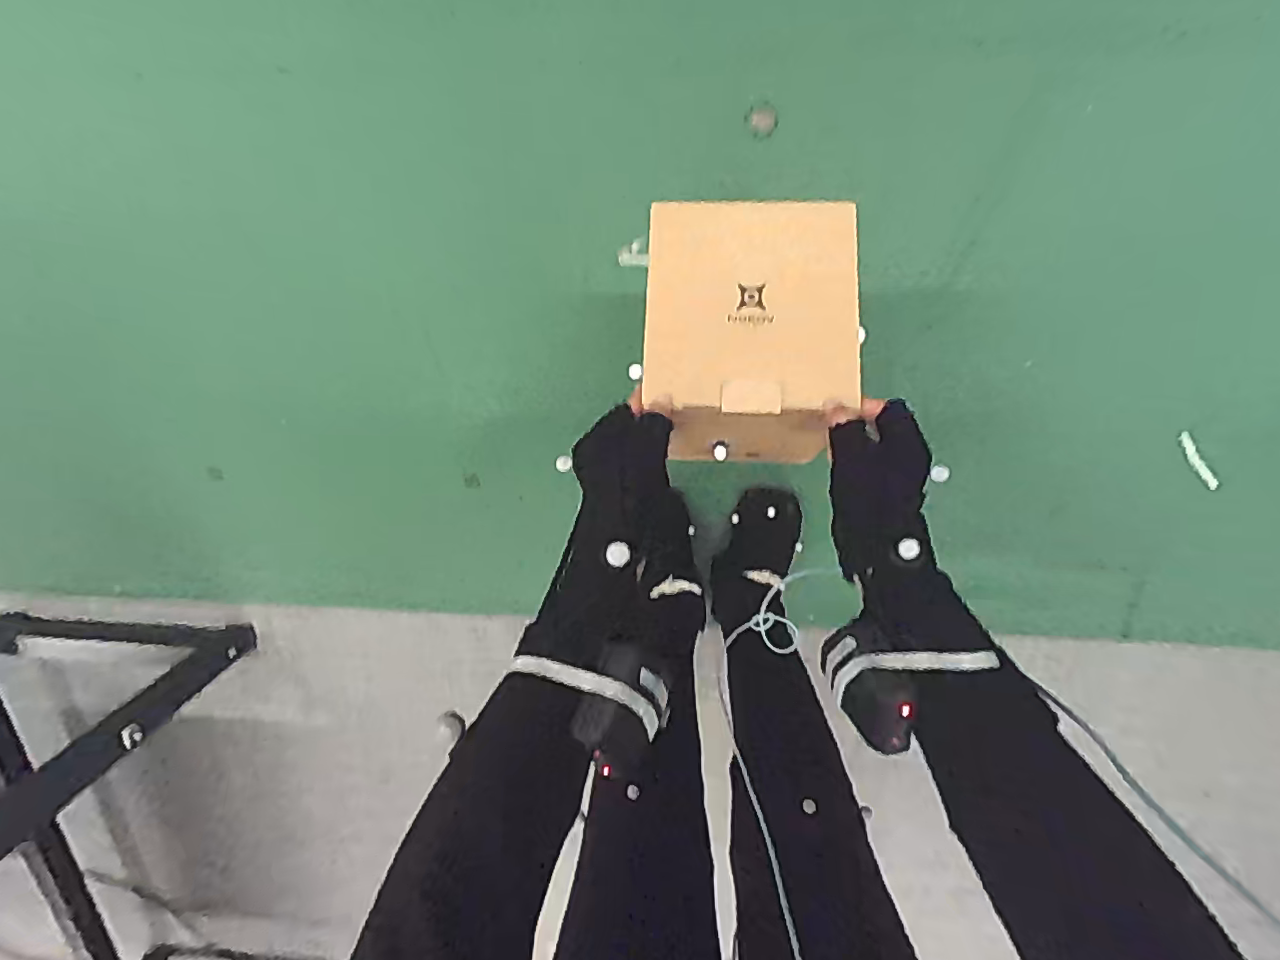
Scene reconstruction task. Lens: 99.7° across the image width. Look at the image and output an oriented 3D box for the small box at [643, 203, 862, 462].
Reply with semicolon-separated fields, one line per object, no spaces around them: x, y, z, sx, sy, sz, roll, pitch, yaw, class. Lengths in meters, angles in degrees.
0.090;-0.121;0.495;0.168;0.176;0.179;2;81;3;small box
